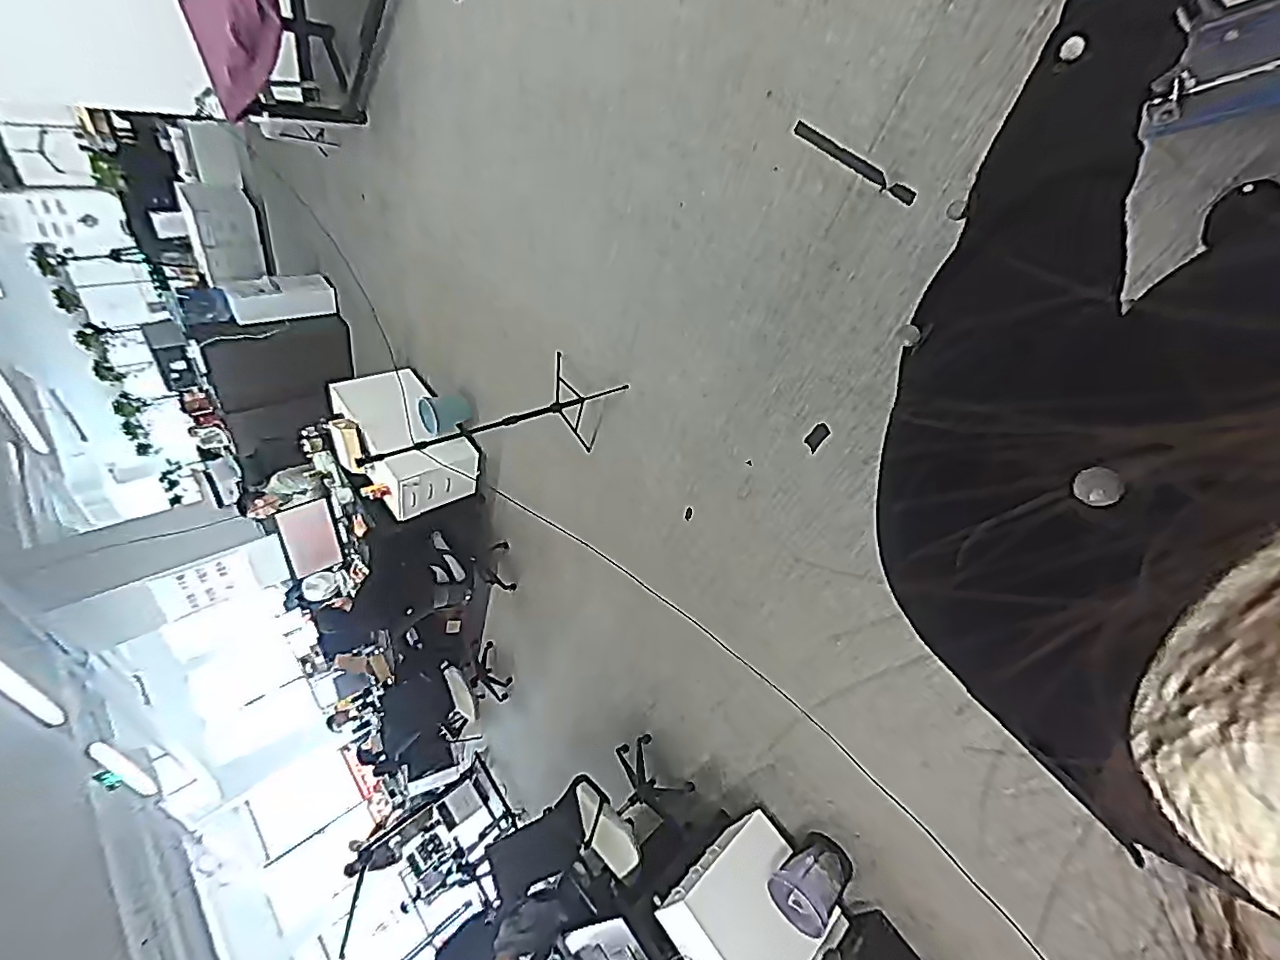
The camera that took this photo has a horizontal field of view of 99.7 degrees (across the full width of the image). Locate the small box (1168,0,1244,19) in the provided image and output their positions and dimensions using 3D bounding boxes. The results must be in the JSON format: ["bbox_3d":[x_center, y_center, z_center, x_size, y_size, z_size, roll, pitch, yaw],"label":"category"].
[{"bbox_3d":[0.811,-0.744,0.702,0.168,0.176,0.179,3,112,48],"label":"small box"}]
